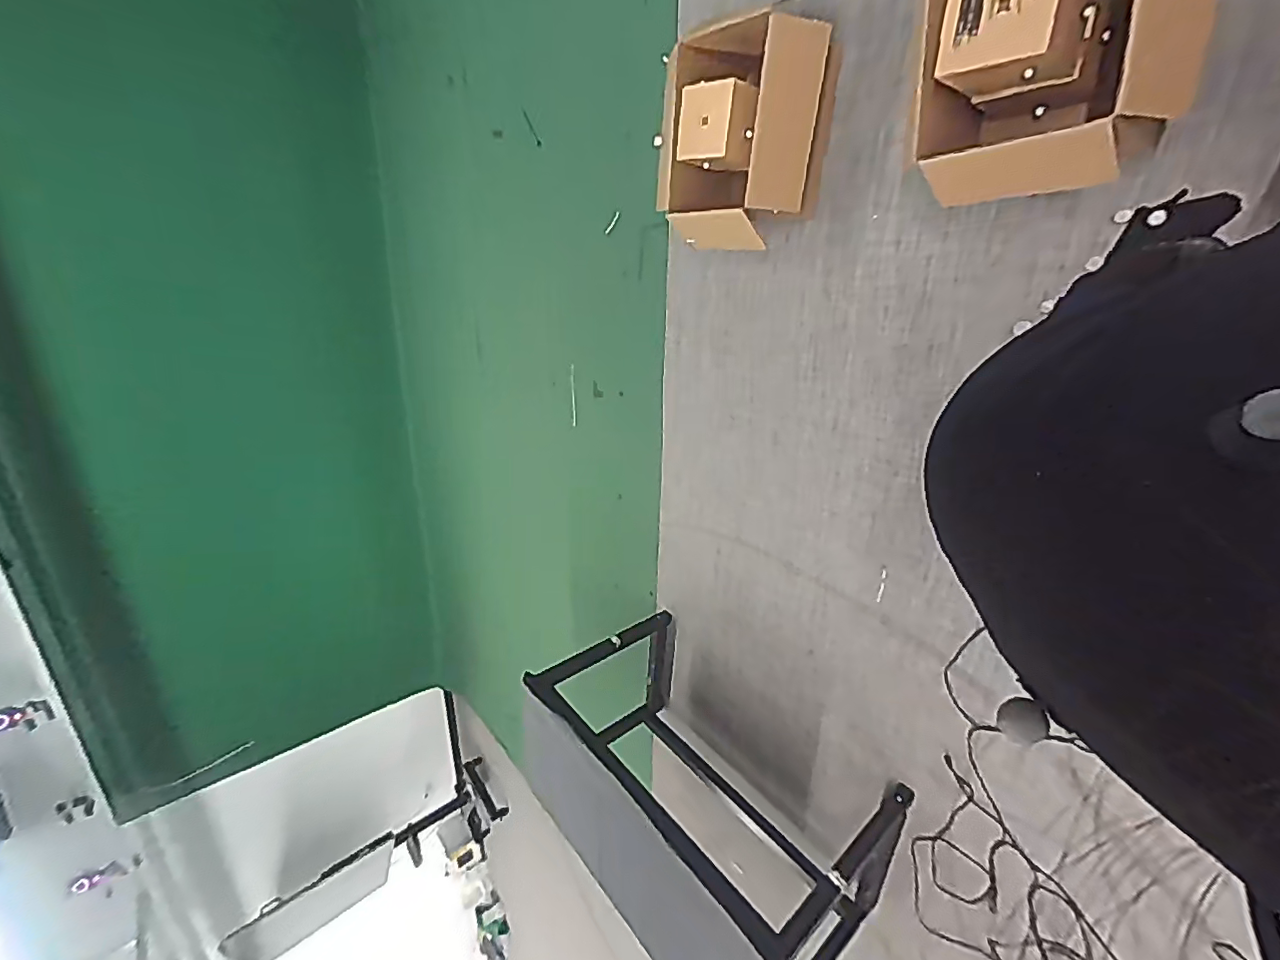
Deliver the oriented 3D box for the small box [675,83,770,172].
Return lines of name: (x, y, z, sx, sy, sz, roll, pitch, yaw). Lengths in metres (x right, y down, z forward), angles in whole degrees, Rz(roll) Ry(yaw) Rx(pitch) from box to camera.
small box: (0.218, -0.919, 1.426, 0.179, 0.176, 0.168, 27, 121, 42)
